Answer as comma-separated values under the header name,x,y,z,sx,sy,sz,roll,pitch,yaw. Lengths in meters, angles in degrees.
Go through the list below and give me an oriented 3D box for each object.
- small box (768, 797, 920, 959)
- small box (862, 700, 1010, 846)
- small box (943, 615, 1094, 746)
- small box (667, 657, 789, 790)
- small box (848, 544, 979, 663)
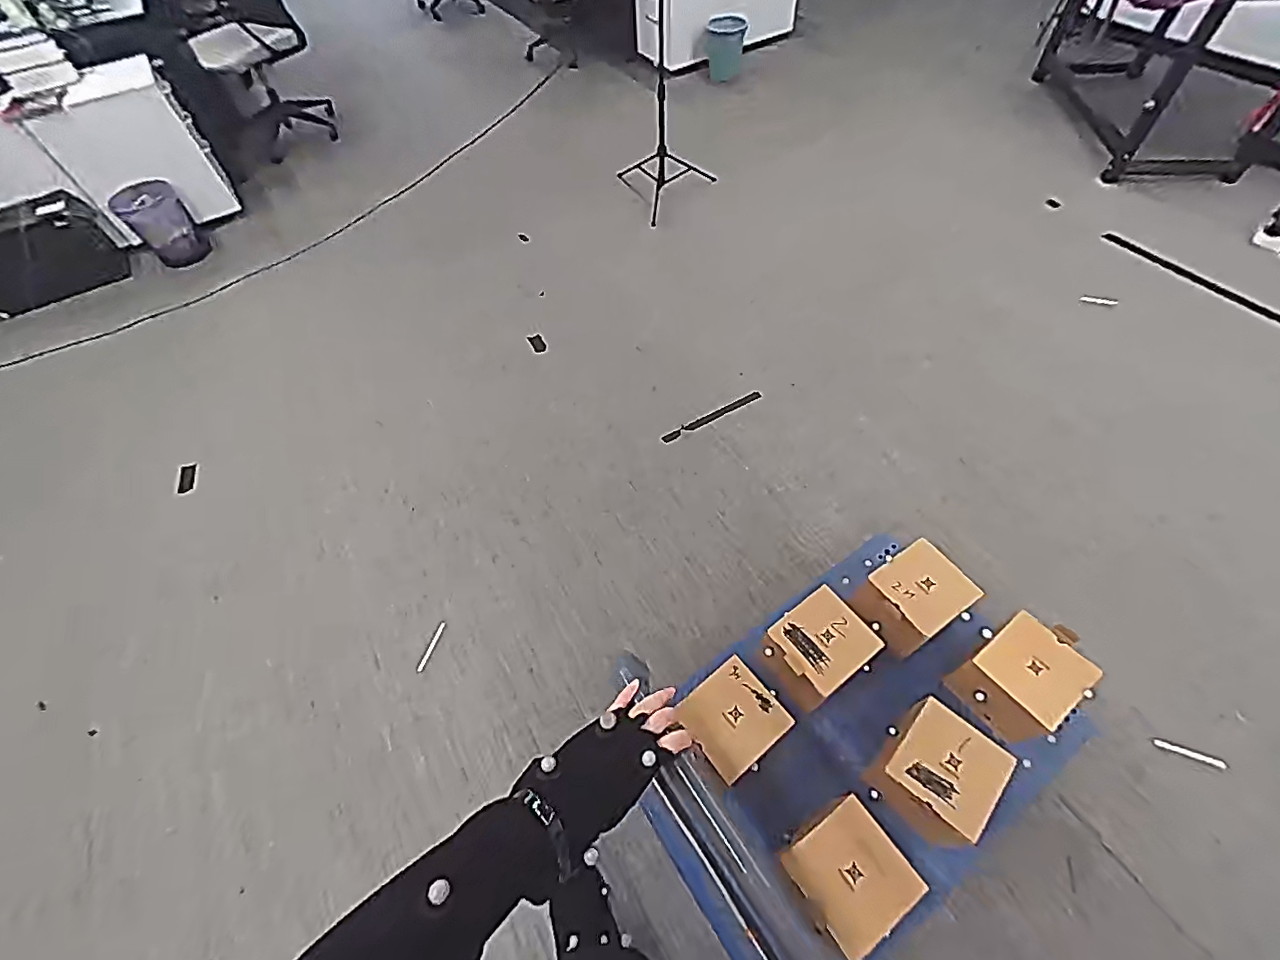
name,x,y,z,sx,sy,sz,roll,pitch,yaw
small box,0.344,0.697,0.953,0.179,0.176,0.168,-30,60,-17
small box,0.549,0.562,1.032,0.168,0.176,0.179,38,65,24
small box,0.765,0.419,1.118,0.179,0.176,0.168,-33,60,-18
small box,0.172,0.498,1.095,0.179,0.176,0.168,-34,61,-18
small box,0.604,0.280,1.218,0.179,0.176,0.168,-29,59,-15
